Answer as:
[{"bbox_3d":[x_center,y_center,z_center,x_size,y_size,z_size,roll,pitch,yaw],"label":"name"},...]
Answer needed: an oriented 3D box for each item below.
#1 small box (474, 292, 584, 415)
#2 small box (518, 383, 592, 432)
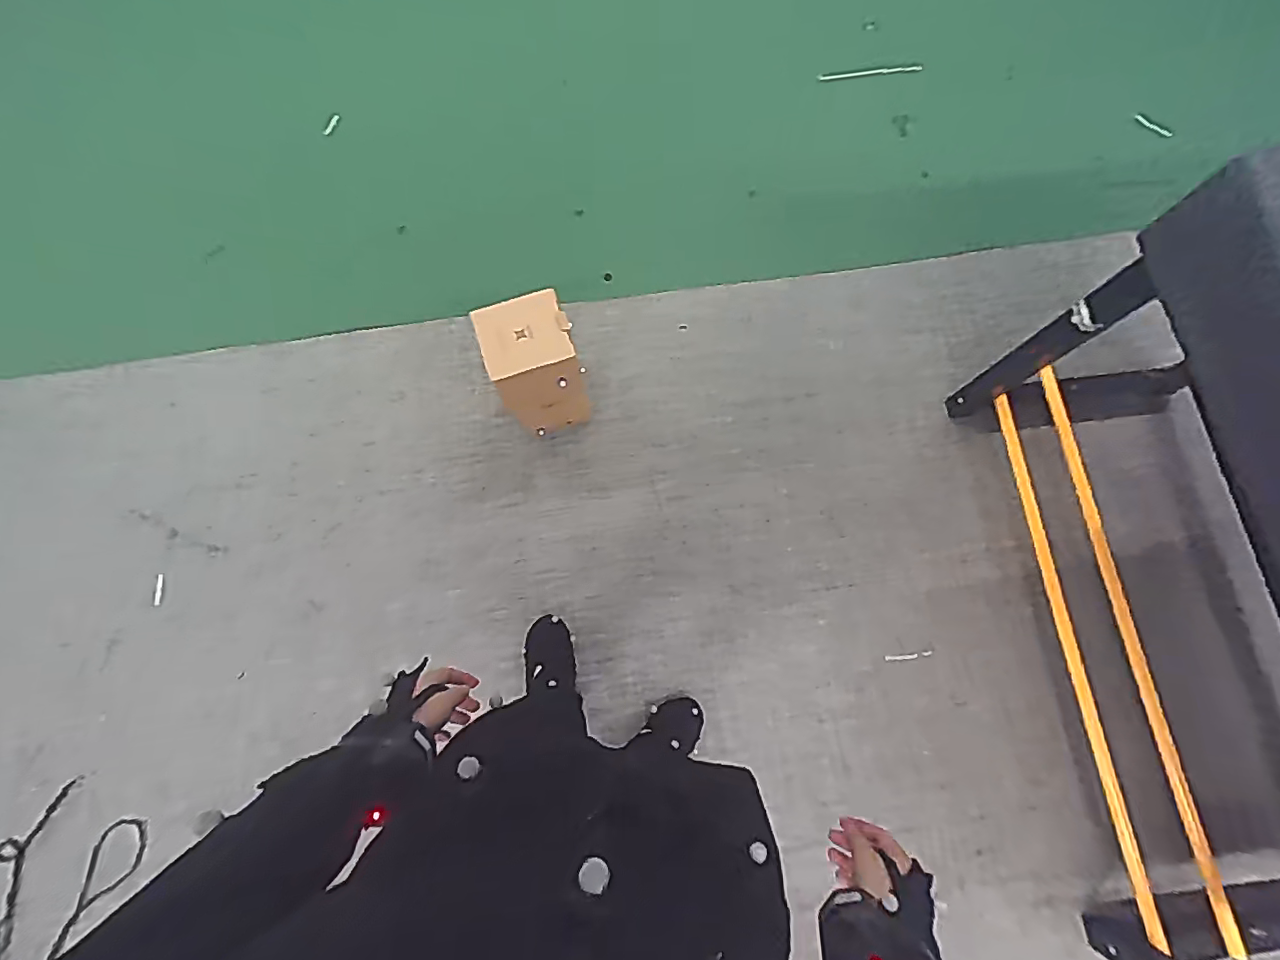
[{"bbox_3d":[-0.225,-0.260,1.143,0.179,0.176,0.168,-20,74,-4],"label":"small box"},{"bbox_3d":[-0.219,-0.228,1.302,0.168,0.176,0.179,-17,75,-4],"label":"small box"}]
